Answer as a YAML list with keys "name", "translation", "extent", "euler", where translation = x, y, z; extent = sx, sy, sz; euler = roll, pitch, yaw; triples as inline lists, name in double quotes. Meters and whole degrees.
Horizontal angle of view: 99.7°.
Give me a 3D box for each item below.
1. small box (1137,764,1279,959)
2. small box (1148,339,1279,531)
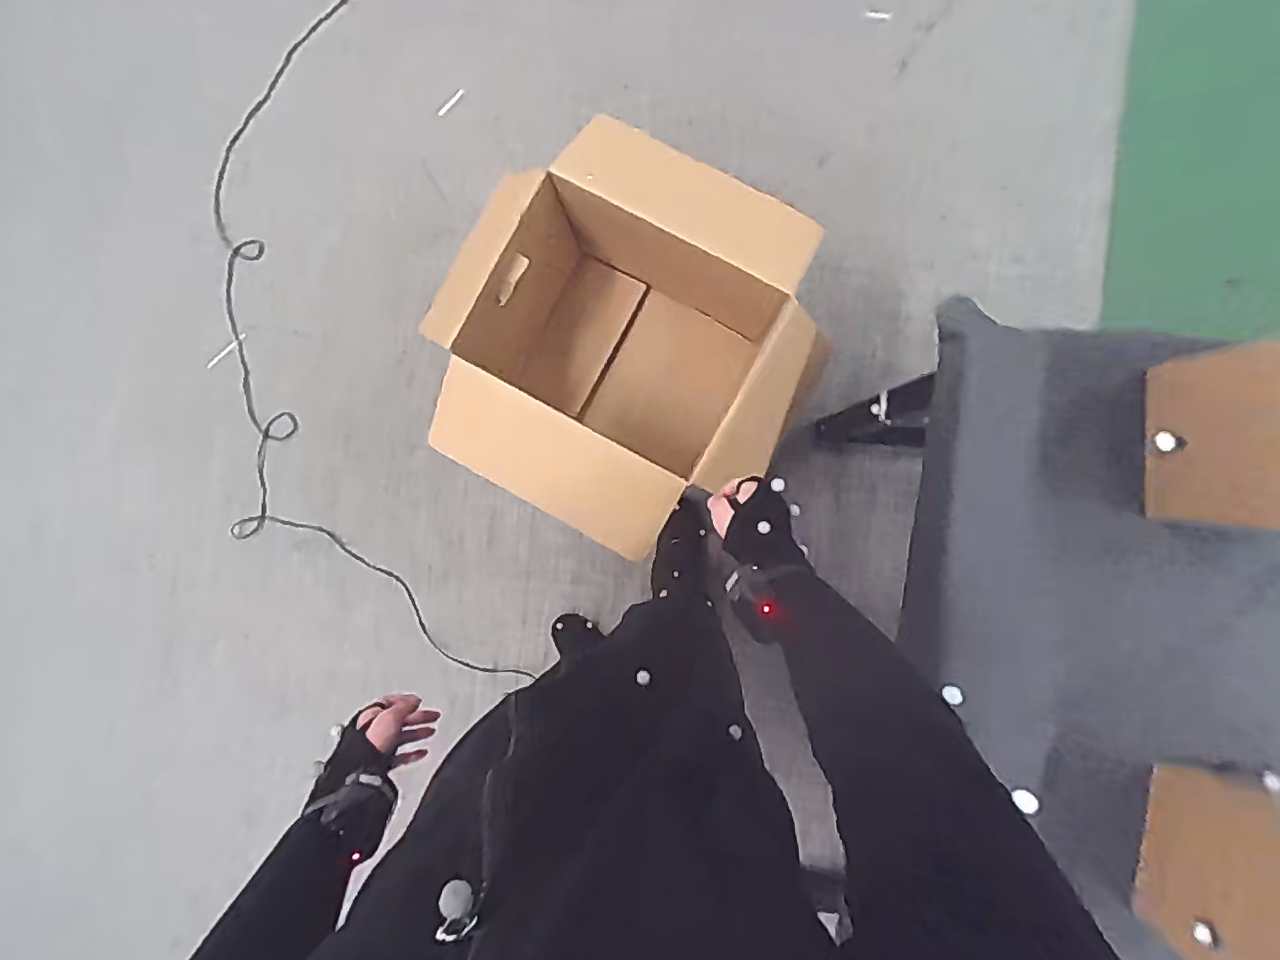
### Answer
- name: "small box"
  translation: [0.651, 0.420, 0.535]
  extent: [0.168, 0.176, 0.179]
  euler: [8, 89, 2]
- name: "small box"
  translation: [0.657, -0.041, 0.534]
  extent: [0.168, 0.176, 0.179]
  euler: [0, 91, 3]
